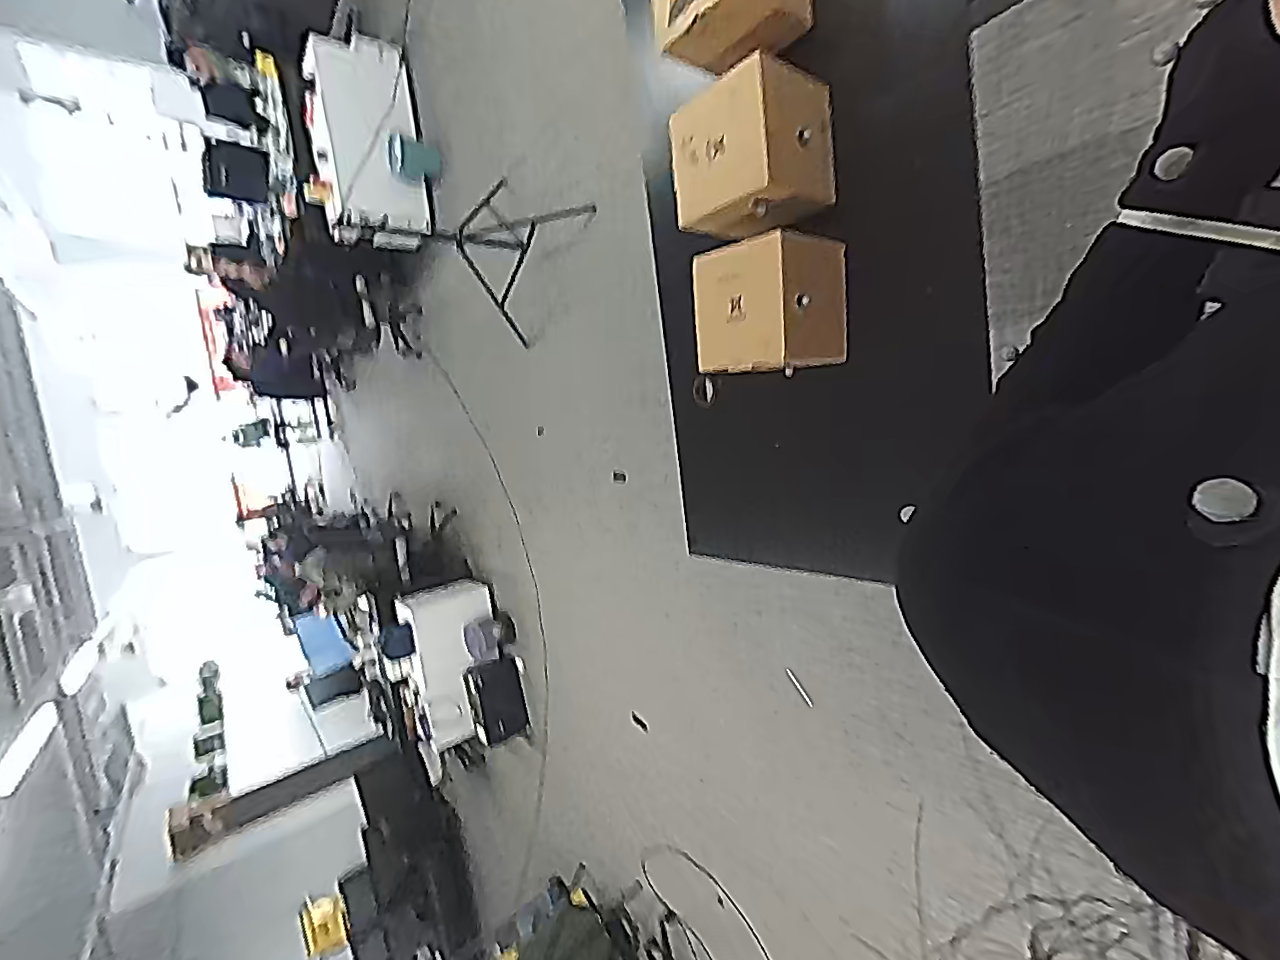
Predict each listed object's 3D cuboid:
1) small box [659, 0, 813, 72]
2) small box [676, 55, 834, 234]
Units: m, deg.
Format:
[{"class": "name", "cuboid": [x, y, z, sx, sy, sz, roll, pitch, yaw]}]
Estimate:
[{"class": "small box", "cuboid": [0.142, -0.751, 0.806, 0.168, 0.176, 0.179, 3, 101, 51]}, {"class": "small box", "cuboid": [0.180, -0.493, 0.827, 0.179, 0.176, 0.168, 3, 101, 51]}]
